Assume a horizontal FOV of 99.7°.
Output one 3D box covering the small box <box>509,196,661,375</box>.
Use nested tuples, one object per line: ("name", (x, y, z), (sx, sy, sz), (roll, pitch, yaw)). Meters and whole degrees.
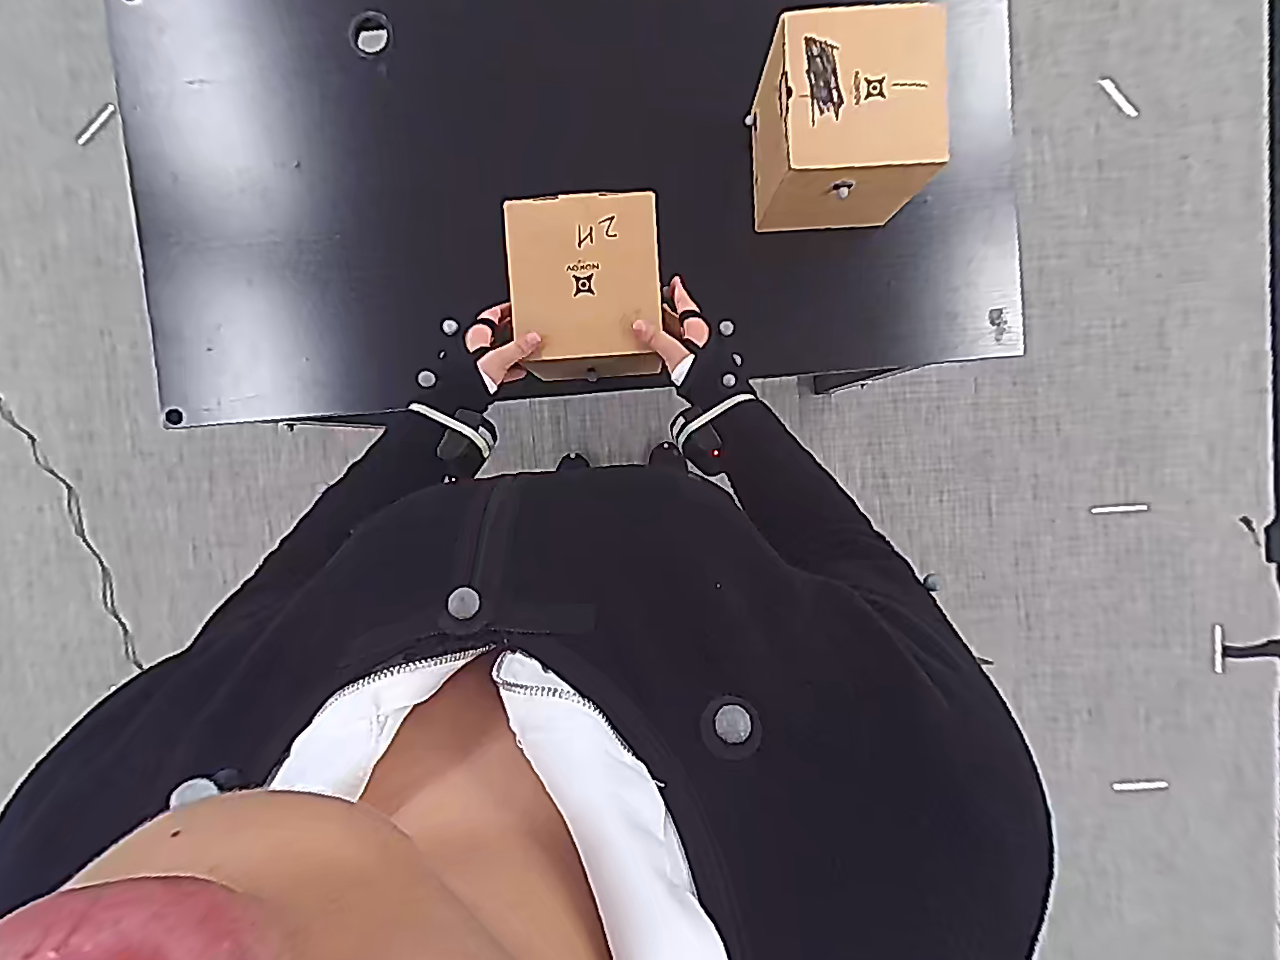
("small box", (-0.059, -0.228, 0.680), (0.168, 0.176, 0.179), (-3, 93, 0))

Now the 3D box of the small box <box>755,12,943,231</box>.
("small box", (0.242, -0.423, 0.667), (0.179, 0.176, 0.168), (-3, 93, 0))
